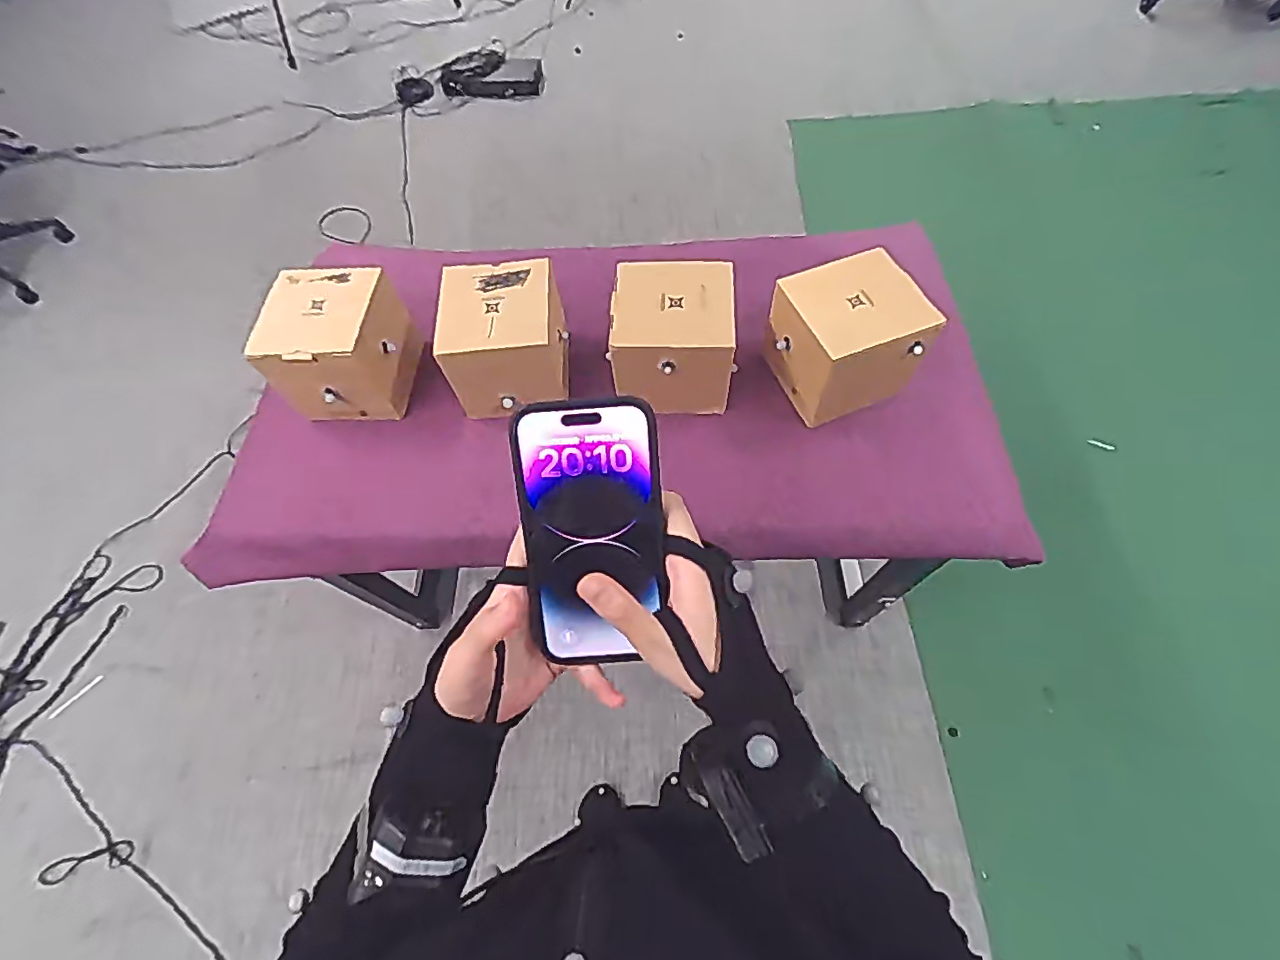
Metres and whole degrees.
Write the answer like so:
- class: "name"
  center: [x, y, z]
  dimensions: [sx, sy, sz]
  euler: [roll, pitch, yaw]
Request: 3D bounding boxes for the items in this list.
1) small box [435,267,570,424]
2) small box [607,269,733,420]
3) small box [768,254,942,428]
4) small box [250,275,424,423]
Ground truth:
- class: "small box"
  center: [-0.208, -0.211, 0.867]
  dimensions: [0.168, 0.176, 0.179]
  euler: [-5, 62, 1]
- class: "small box"
  center: [0.052, -0.207, 0.849]
  dimensions: [0.179, 0.176, 0.168]
  euler: [2, 62, 5]
- class: "small box"
  center: [0.309, -0.206, 0.830]
  dimensions: [0.179, 0.176, 0.168]
  euler: [-20, 62, -7]
- class: "small box"
  center: [-0.475, -0.205, 0.882]
  dimensions: [0.168, 0.176, 0.179]
  euler: [0, 62, 4]
